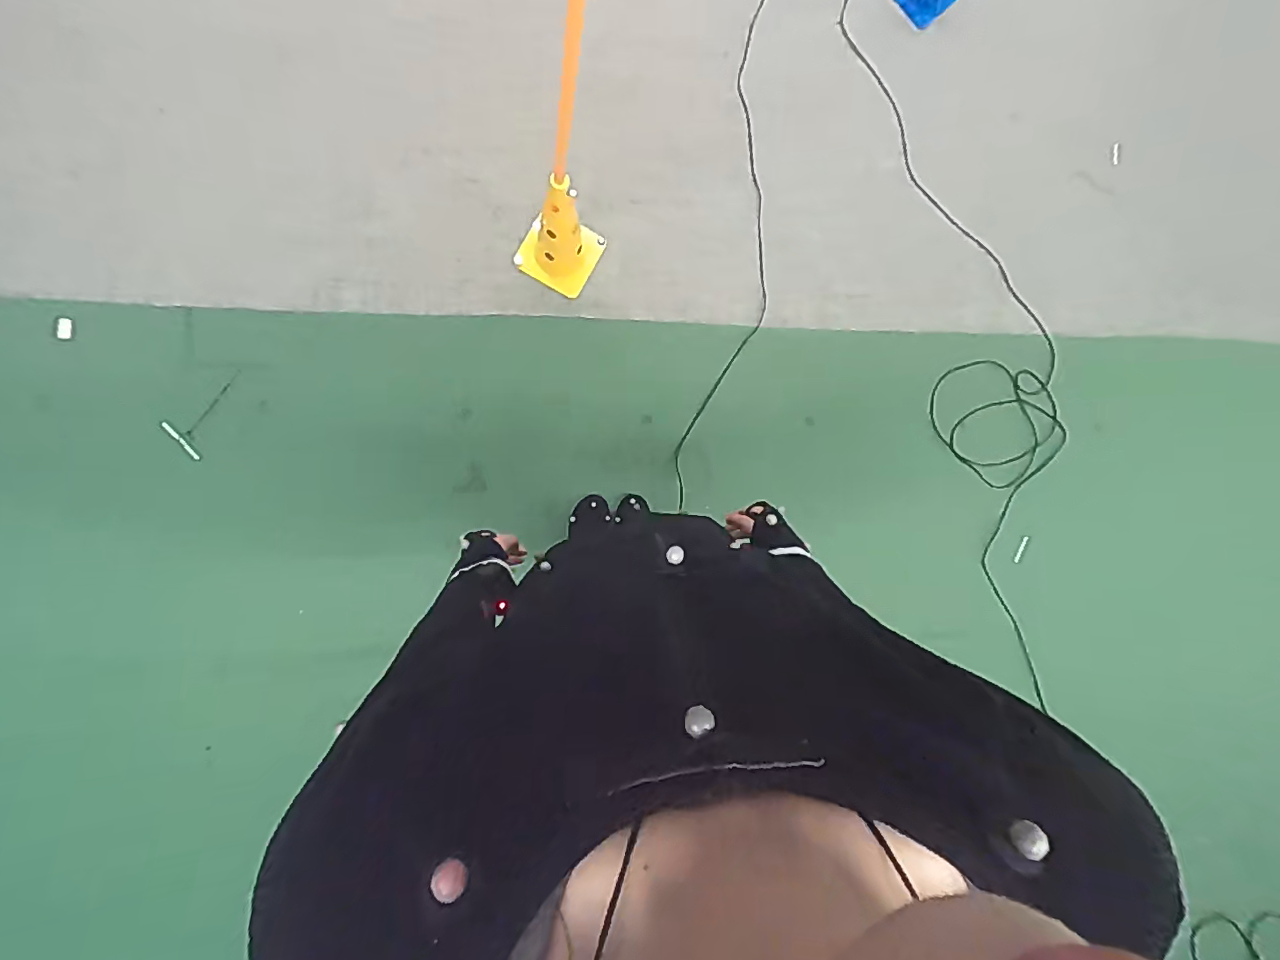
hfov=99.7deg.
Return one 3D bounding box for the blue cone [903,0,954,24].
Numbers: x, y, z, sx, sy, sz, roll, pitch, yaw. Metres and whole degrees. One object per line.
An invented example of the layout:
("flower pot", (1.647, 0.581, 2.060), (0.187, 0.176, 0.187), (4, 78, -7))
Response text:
("blue cone", (0.909, -1.544, 1.517), (0.192, 0.380, 0.193), (44, 81, -4))
